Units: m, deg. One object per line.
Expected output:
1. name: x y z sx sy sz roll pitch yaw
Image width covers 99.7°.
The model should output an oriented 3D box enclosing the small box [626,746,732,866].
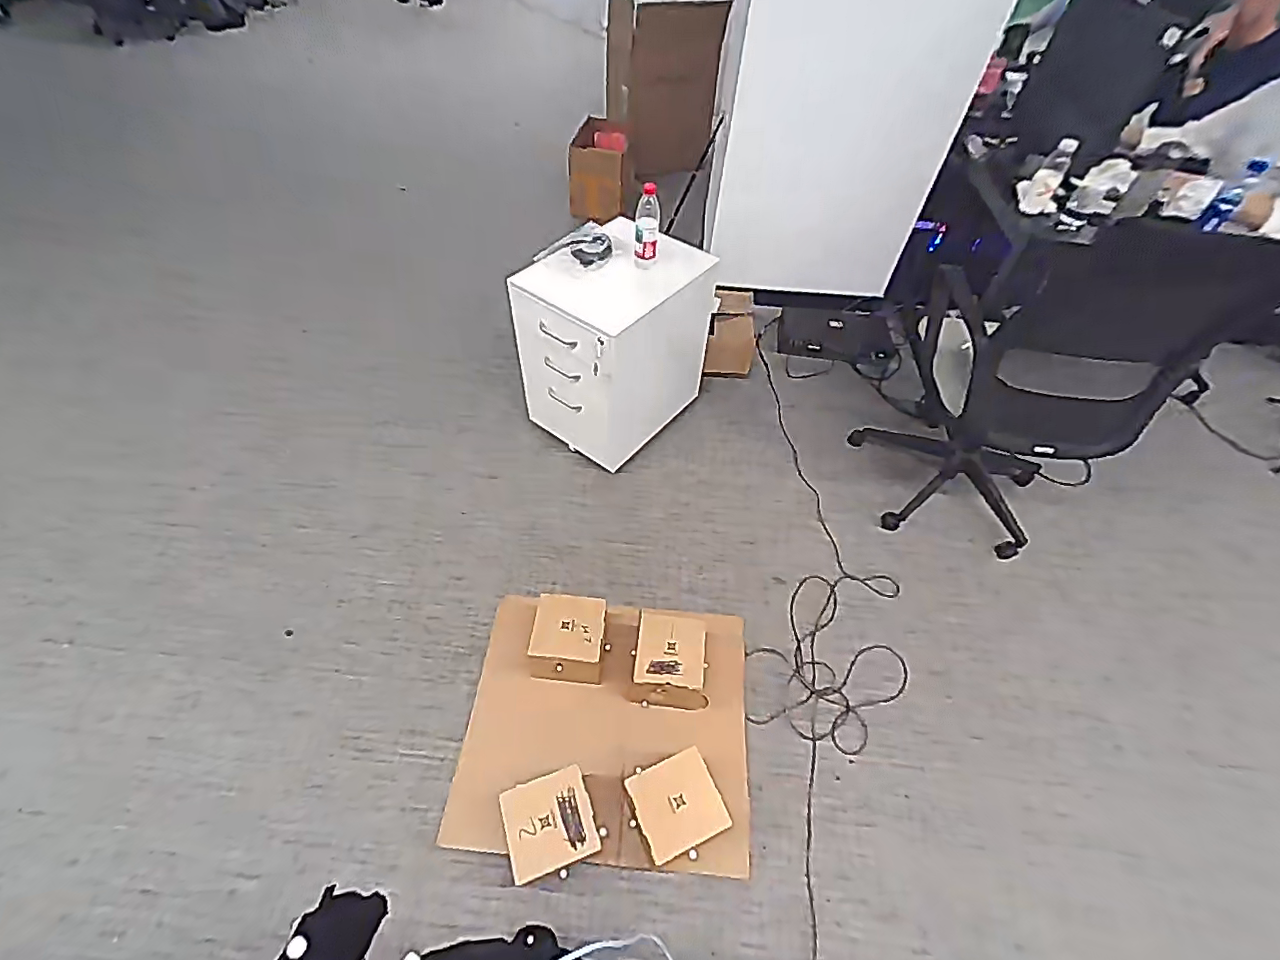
1. small box: 0.077 0.719 1.190 0.179 0.176 0.168 -20 55 -15
